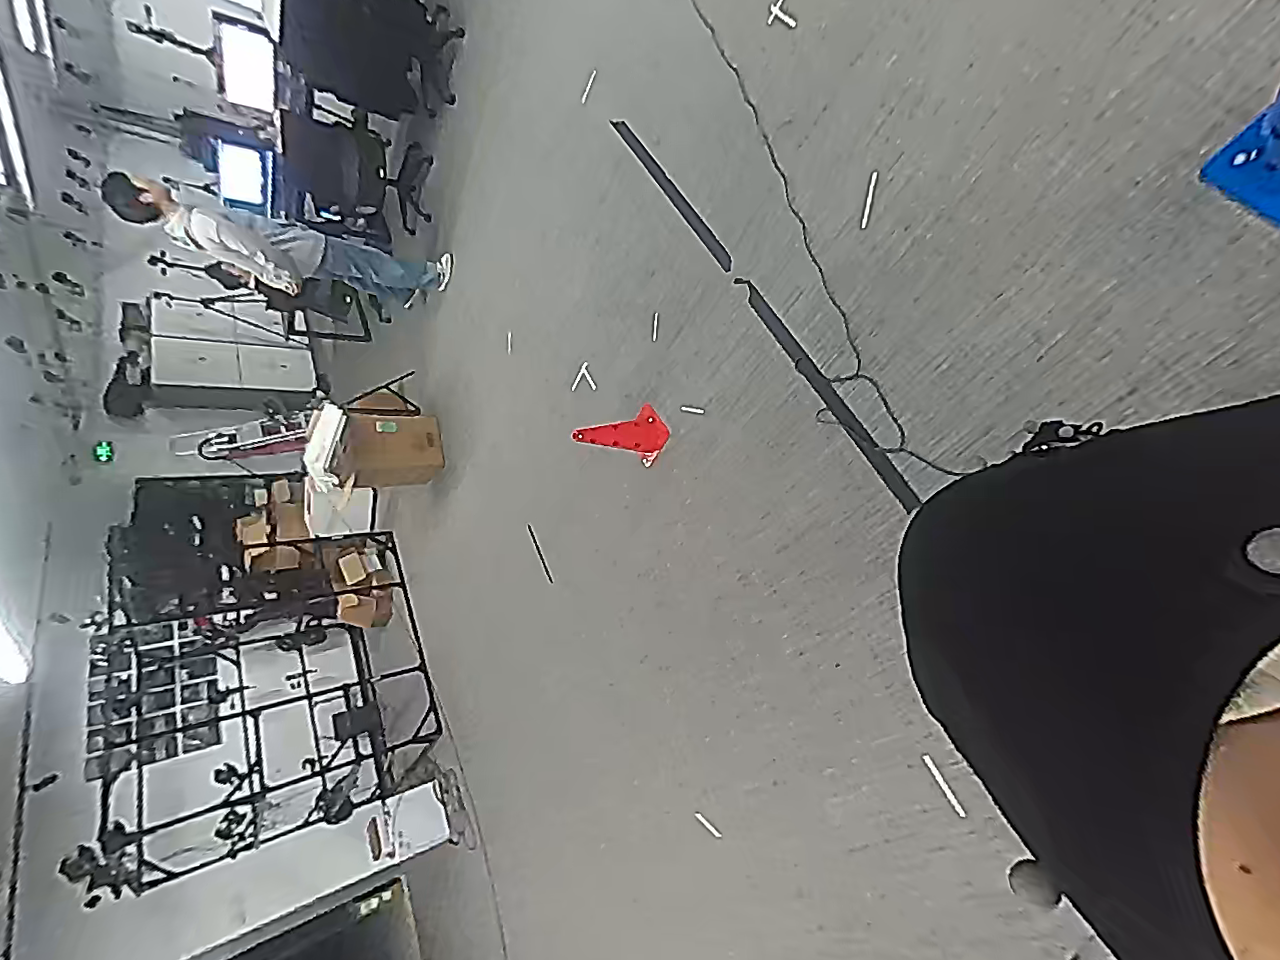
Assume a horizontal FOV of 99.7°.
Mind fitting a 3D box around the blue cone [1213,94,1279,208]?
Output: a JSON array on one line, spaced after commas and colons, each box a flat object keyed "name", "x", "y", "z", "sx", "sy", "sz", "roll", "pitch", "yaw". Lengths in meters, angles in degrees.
[{"name": "blue cone", "x": 0.957, "y": -0.544, "z": 0.757, "sx": 0.192, "sy": 0.380, "sz": 0.193, "roll": -51, "pitch": 55, "yaw": 39}]

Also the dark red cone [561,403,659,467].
[{"name": "dark red cone", "x": -0.129, "y": -0.178, "z": 2.093, "sx": 0.202, "sy": 0.394, "sz": 0.201, "roll": 56, "pitch": 131, "yaw": 32}]
